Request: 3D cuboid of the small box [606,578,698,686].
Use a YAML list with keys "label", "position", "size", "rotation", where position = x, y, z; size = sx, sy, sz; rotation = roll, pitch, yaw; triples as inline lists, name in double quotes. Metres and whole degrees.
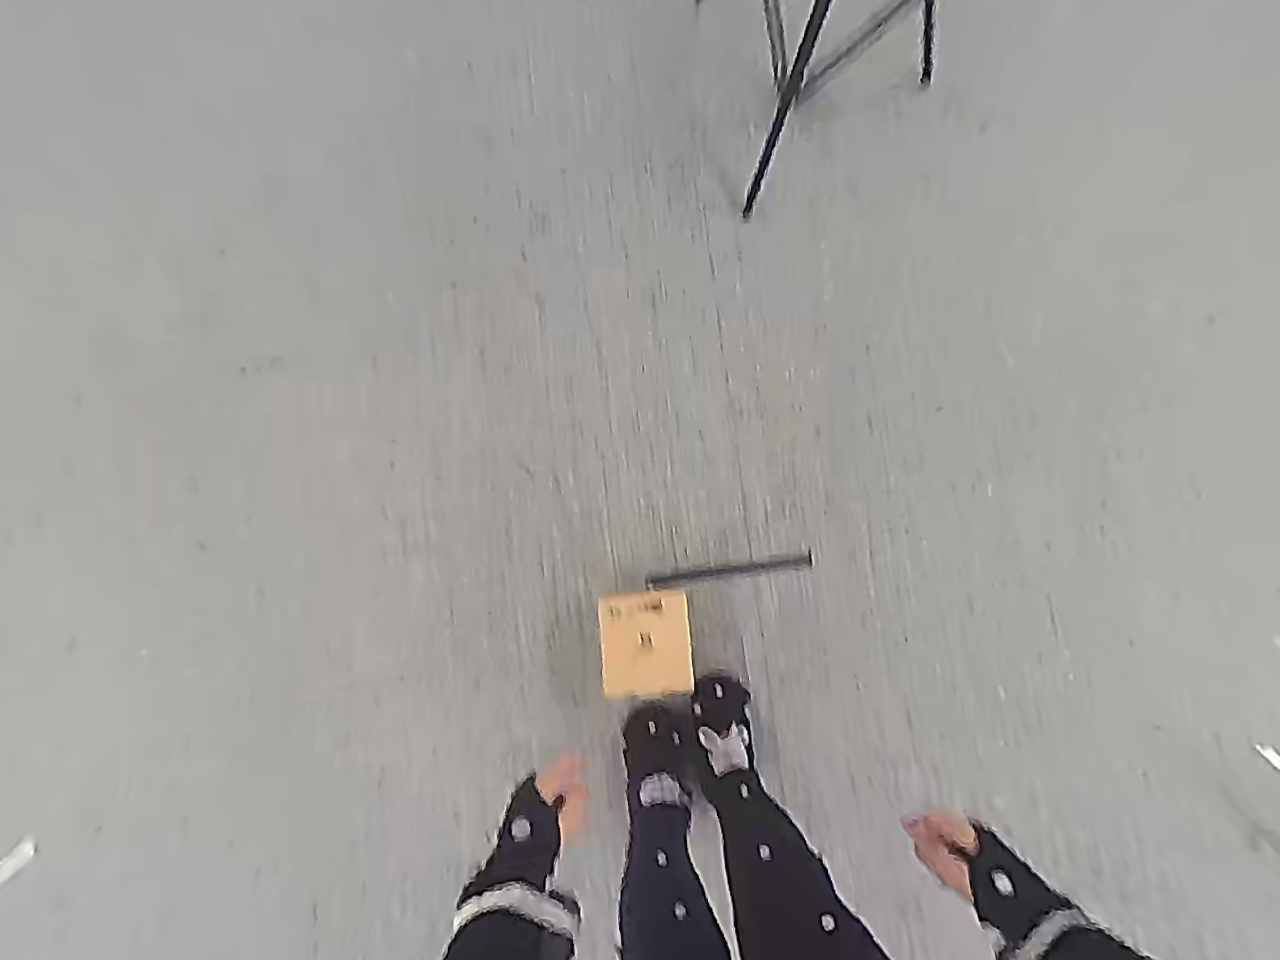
- label: "small box"
  position: [0.022, 0.293, 1.072]
  size: [0.168, 0.176, 0.179]
  rotation: [-3, 84, -1]
